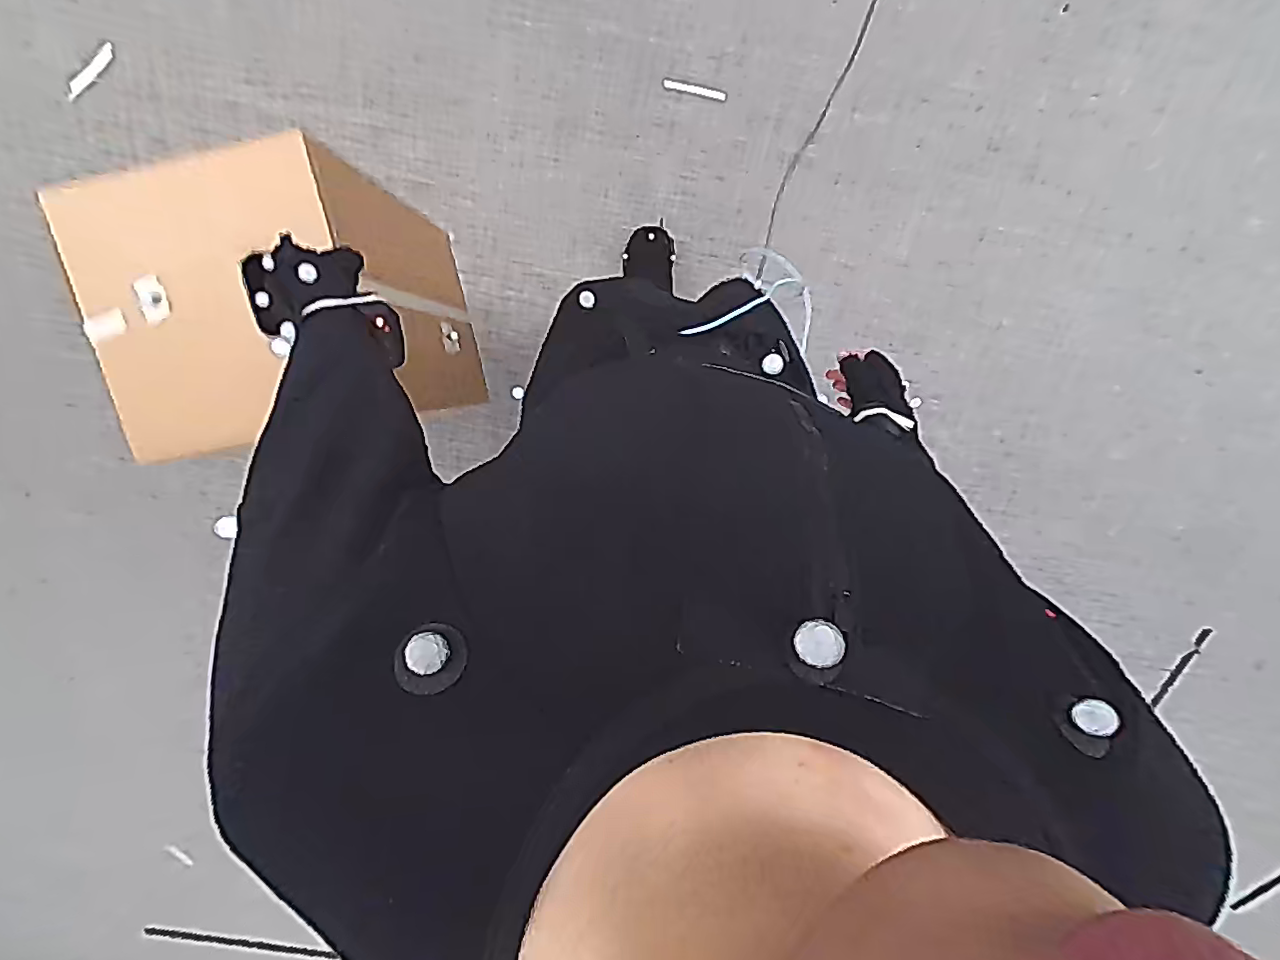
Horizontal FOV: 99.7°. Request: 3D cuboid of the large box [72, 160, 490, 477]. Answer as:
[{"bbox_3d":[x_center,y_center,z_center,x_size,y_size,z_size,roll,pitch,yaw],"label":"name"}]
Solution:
[{"bbox_3d":[-0.469,-0.213,0.821,0.320,0.408,0.320,-11,99,3],"label":"large box"}]
